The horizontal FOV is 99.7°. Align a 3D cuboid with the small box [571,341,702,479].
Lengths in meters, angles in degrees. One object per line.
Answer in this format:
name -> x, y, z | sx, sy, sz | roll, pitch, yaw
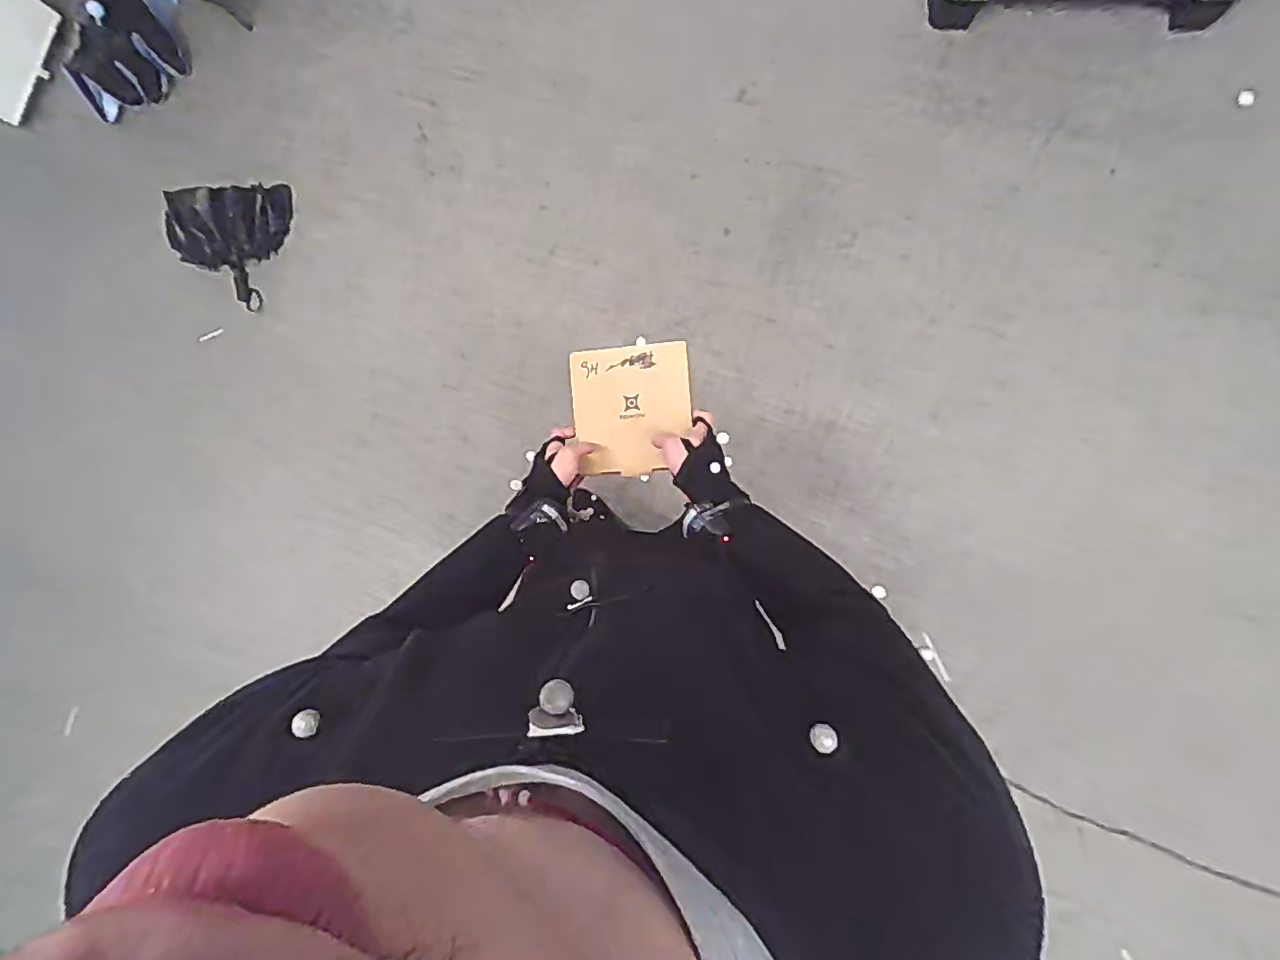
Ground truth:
small box -> 0.004, -0.100, 0.816 | 0.168, 0.176, 0.179 | -5, 93, 8
